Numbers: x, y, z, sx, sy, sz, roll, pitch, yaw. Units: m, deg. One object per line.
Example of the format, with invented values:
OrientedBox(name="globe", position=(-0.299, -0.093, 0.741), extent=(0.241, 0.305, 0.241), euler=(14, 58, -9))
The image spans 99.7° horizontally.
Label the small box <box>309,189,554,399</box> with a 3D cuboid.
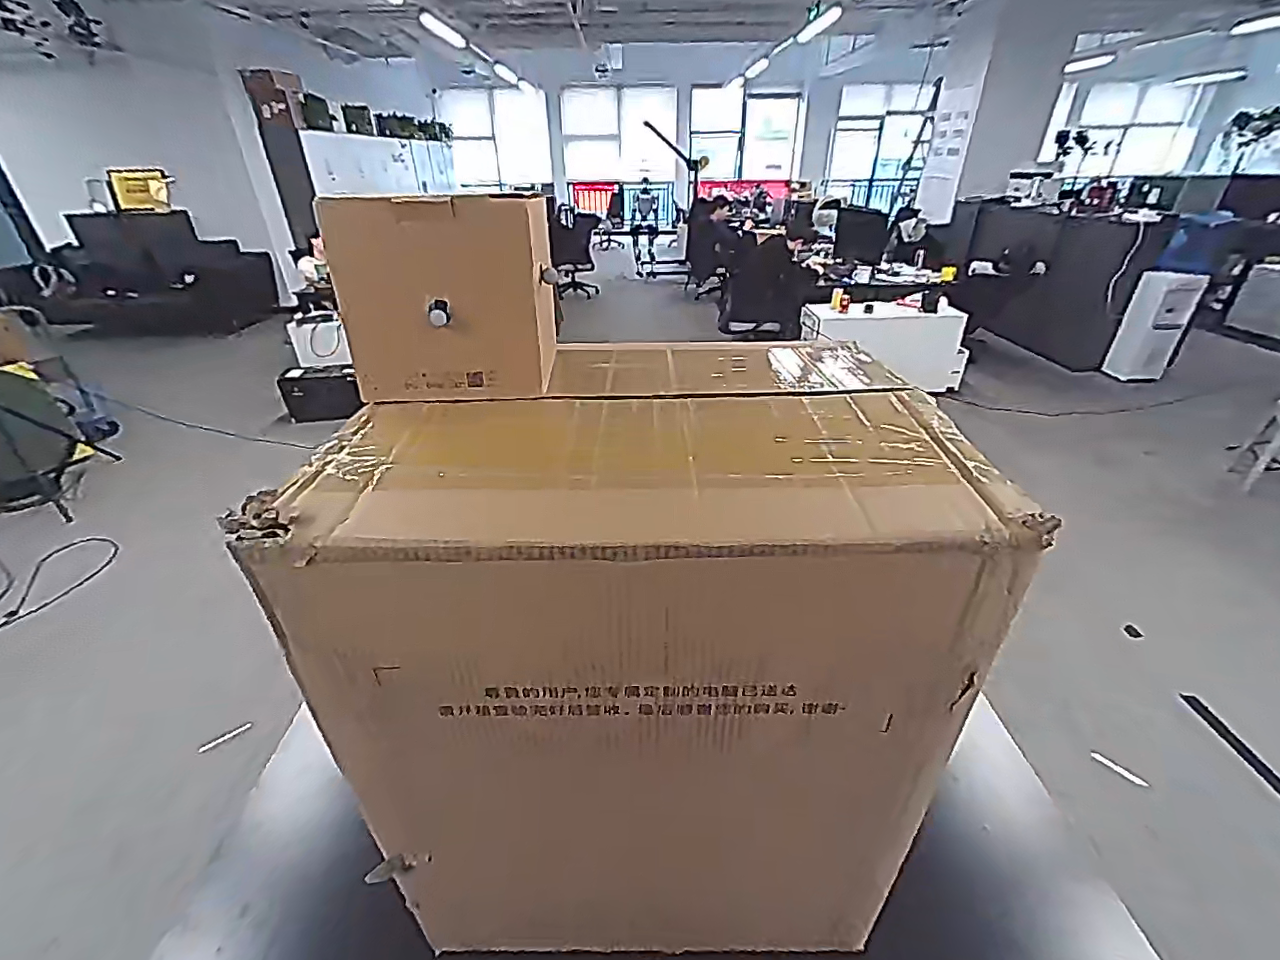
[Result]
OrientedBox(name="small box", position=(-0.176, -0.182, 0.524), extent=(0.168, 0.176, 0.179), euler=(-3, 29, -4))
